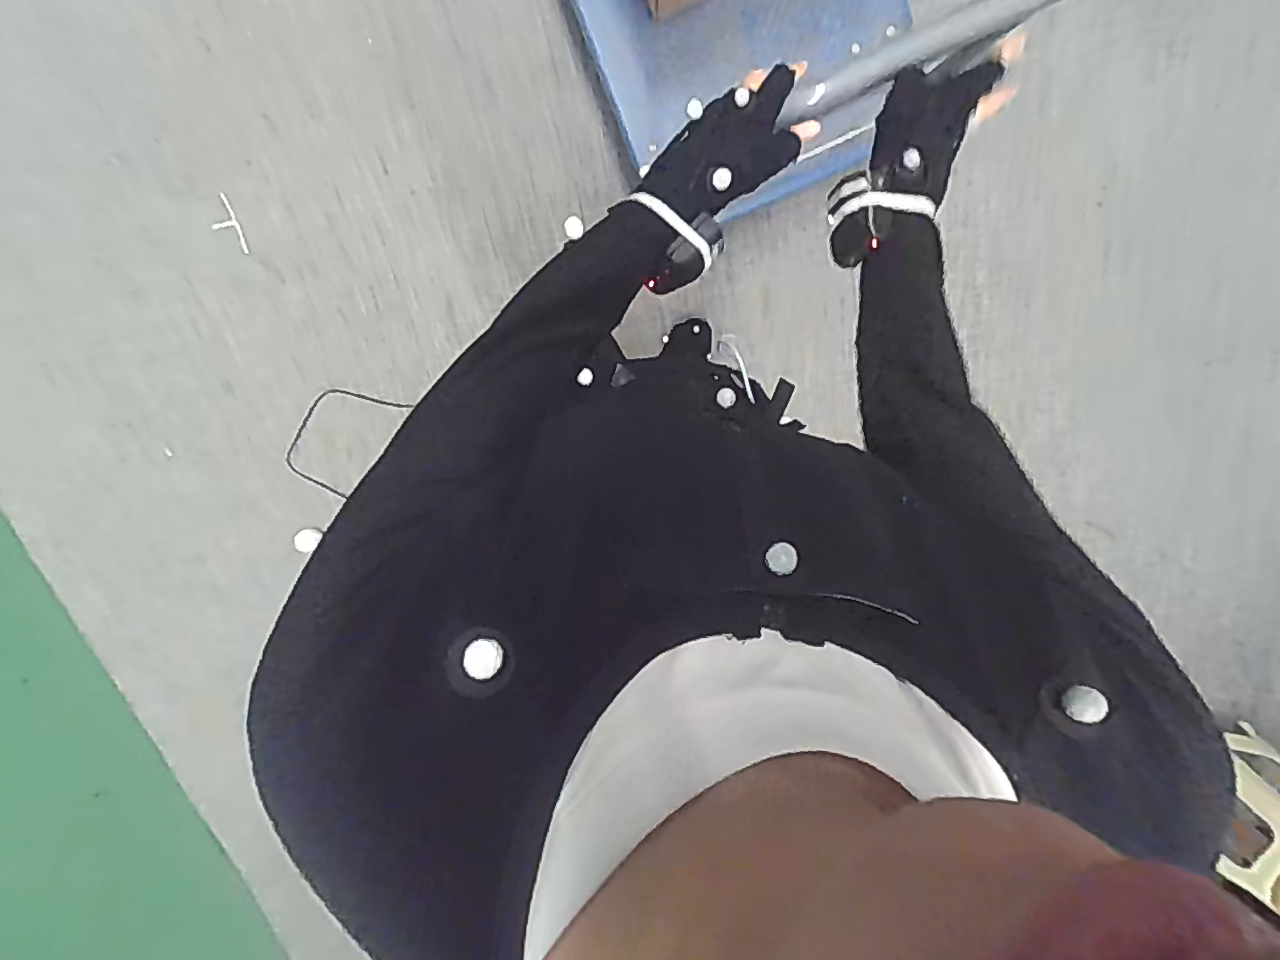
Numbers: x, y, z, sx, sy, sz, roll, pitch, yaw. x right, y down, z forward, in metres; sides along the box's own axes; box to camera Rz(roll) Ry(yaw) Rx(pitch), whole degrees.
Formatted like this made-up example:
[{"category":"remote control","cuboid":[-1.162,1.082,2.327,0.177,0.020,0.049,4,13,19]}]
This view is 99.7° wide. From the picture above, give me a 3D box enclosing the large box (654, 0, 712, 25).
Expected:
[{"category":"large box","cuboid":[0.158,-1.027,0.824,0.408,0.320,0.320,-24,107,9]}]
